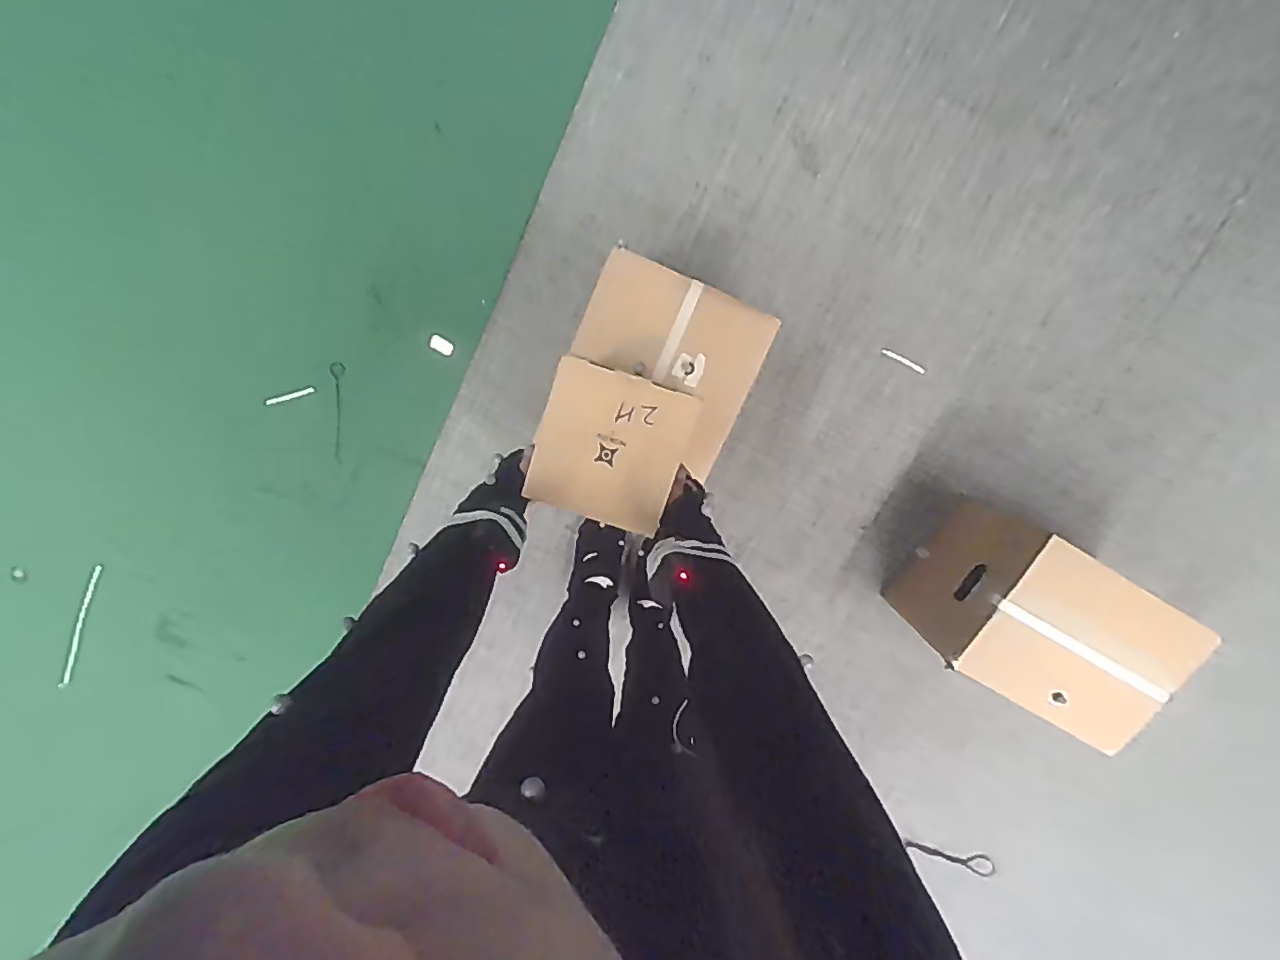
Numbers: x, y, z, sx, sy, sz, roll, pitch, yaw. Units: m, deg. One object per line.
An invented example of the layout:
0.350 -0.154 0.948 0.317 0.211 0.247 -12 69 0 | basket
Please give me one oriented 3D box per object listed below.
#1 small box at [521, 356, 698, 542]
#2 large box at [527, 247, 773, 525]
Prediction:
-0.035 -0.047 0.699 0.168 0.176 0.179 19 100 -3 | small box
0.014 -0.178 1.089 0.320 0.320 0.408 24 100 -4 | large box
